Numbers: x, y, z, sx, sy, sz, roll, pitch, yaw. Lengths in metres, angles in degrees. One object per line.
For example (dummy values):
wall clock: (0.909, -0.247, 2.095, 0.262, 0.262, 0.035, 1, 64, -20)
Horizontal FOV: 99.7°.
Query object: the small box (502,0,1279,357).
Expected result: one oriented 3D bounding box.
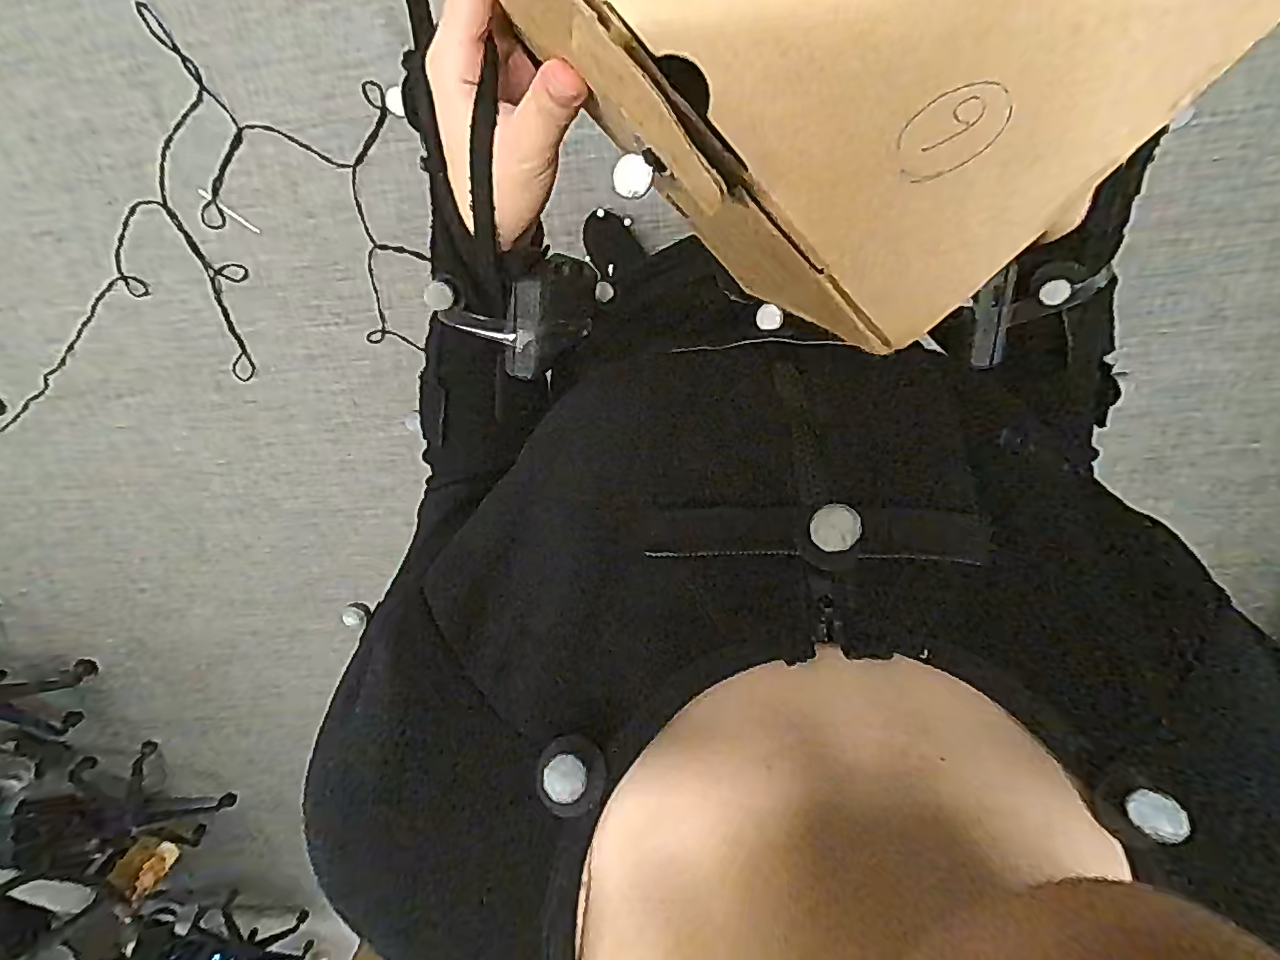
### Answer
small box: (0.063, -0.173, 0.179, 0.168, 0.176, 0.179, 41, 108, -18)
